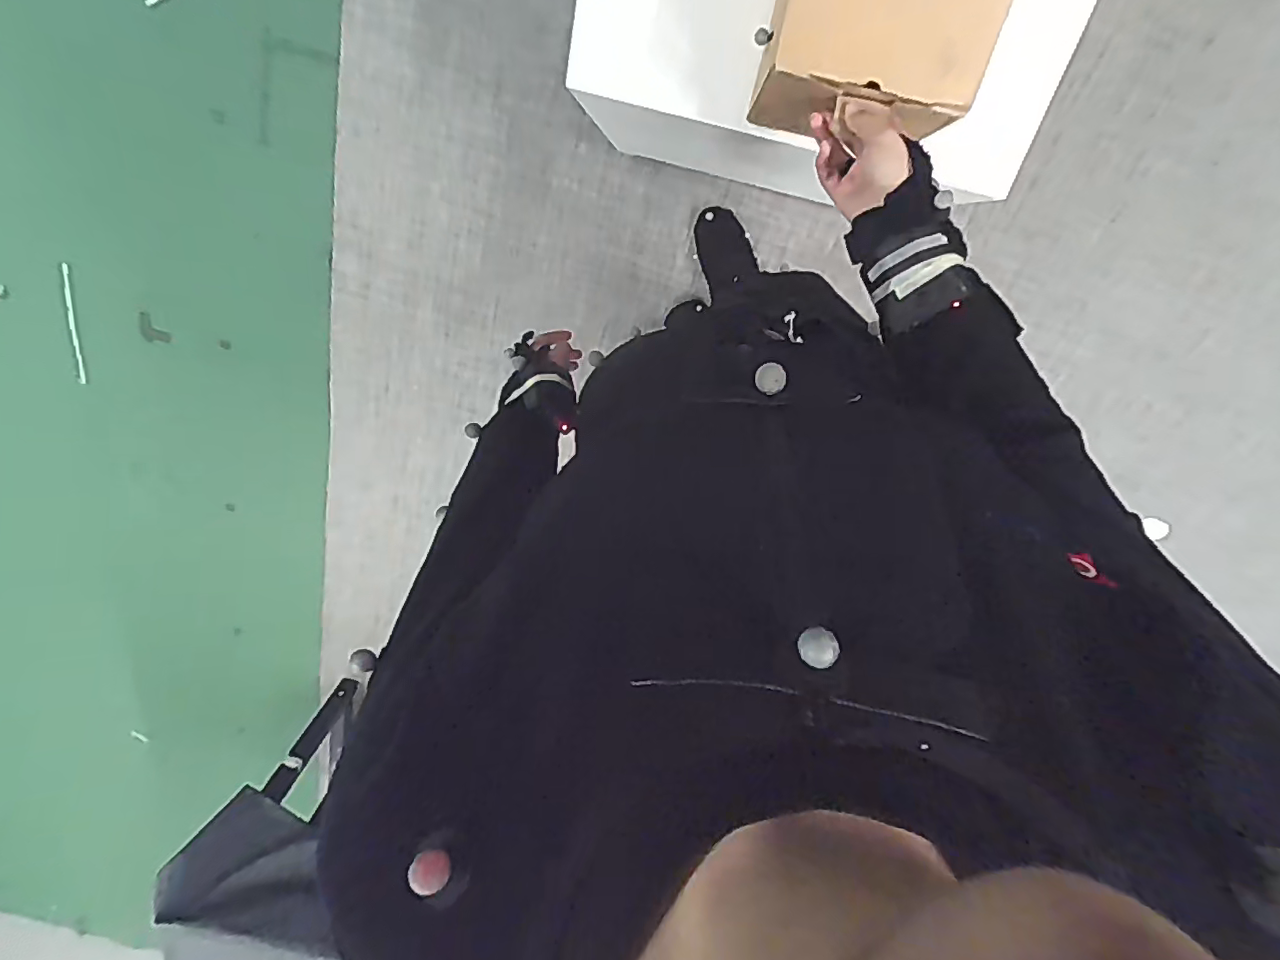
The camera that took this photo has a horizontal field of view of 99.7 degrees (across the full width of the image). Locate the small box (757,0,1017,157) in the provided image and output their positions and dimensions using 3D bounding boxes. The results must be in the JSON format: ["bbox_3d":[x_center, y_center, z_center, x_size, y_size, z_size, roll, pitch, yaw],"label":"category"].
[{"bbox_3d":[0.210,-0.412,0.477,0.168,0.176,0.179,14,111,-1],"label":"small box"}]
